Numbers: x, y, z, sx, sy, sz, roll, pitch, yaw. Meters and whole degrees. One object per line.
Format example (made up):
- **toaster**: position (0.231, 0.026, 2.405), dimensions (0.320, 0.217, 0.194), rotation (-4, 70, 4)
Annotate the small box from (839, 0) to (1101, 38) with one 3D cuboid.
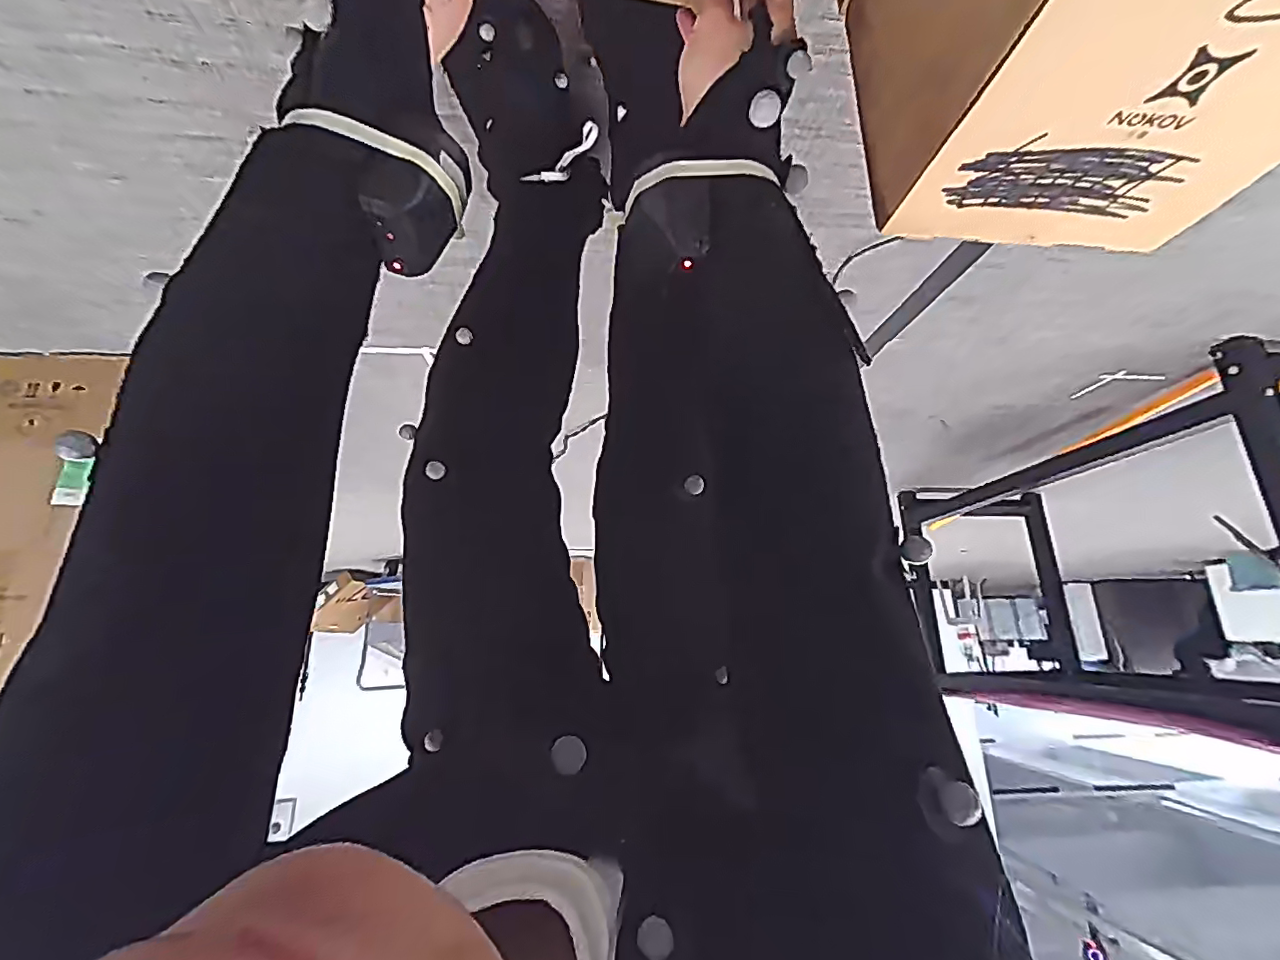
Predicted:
- **small box**: position (0.210, -0.395, 0.291), dimensions (0.168, 0.176, 0.179), rotation (1, 164, -5)
